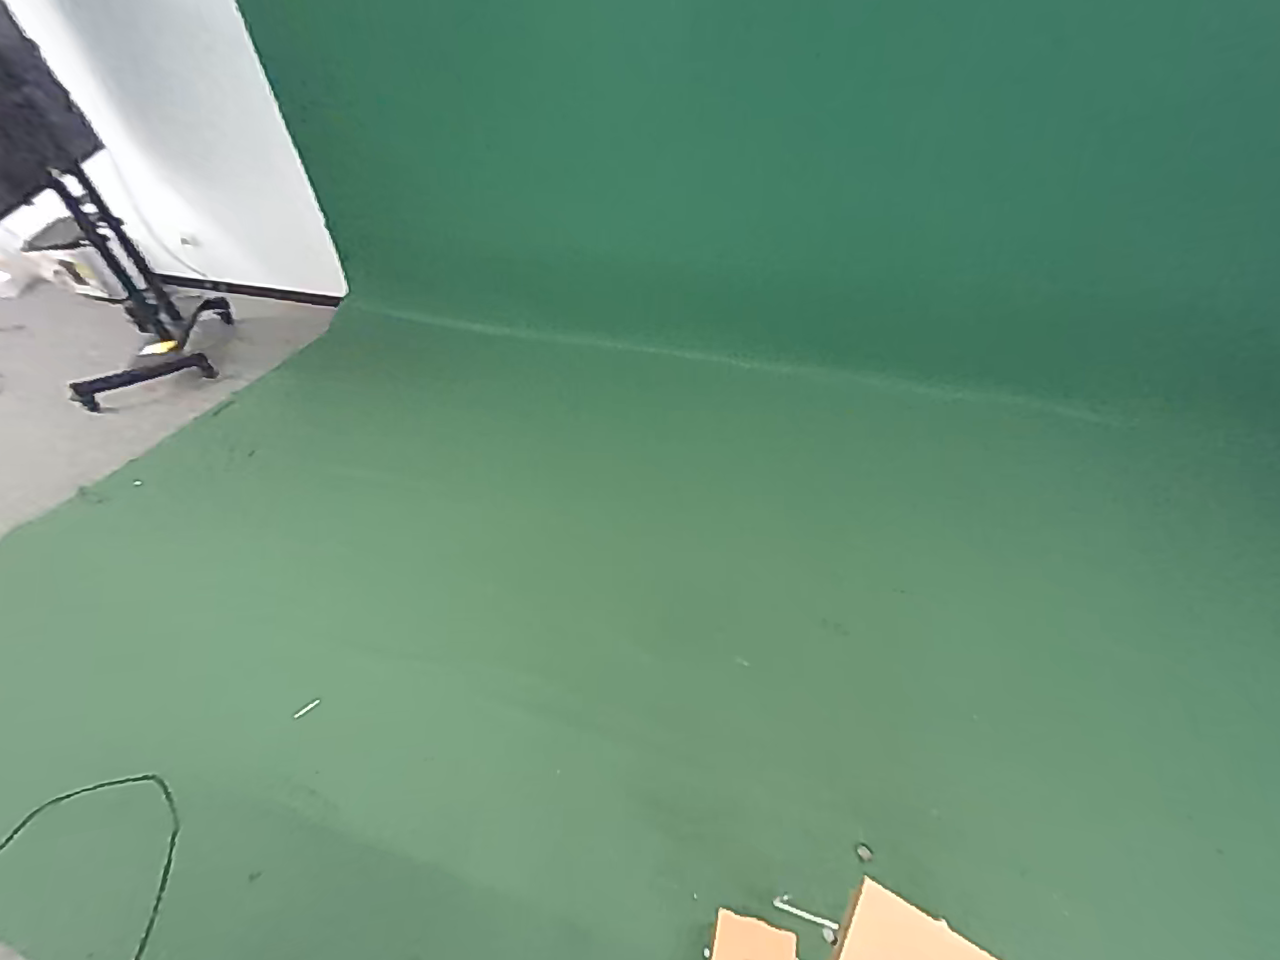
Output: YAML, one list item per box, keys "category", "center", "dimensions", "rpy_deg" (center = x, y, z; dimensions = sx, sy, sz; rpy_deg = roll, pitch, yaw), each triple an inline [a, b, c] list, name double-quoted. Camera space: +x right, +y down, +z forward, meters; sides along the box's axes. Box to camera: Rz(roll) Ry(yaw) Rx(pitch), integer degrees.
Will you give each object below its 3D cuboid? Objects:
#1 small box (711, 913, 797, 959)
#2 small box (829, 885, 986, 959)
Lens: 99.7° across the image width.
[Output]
- category: "small box"
  center: [0.231, 1.065, 1.143]
  dimensions: [0.168, 0.176, 0.179]
  rpy_deg: [10, 43, 13]
- category: "small box"
  center: [0.307, 0.605, 0.610]
  dimensions: [0.179, 0.176, 0.168]
  rpy_deg: [22, 55, 29]
